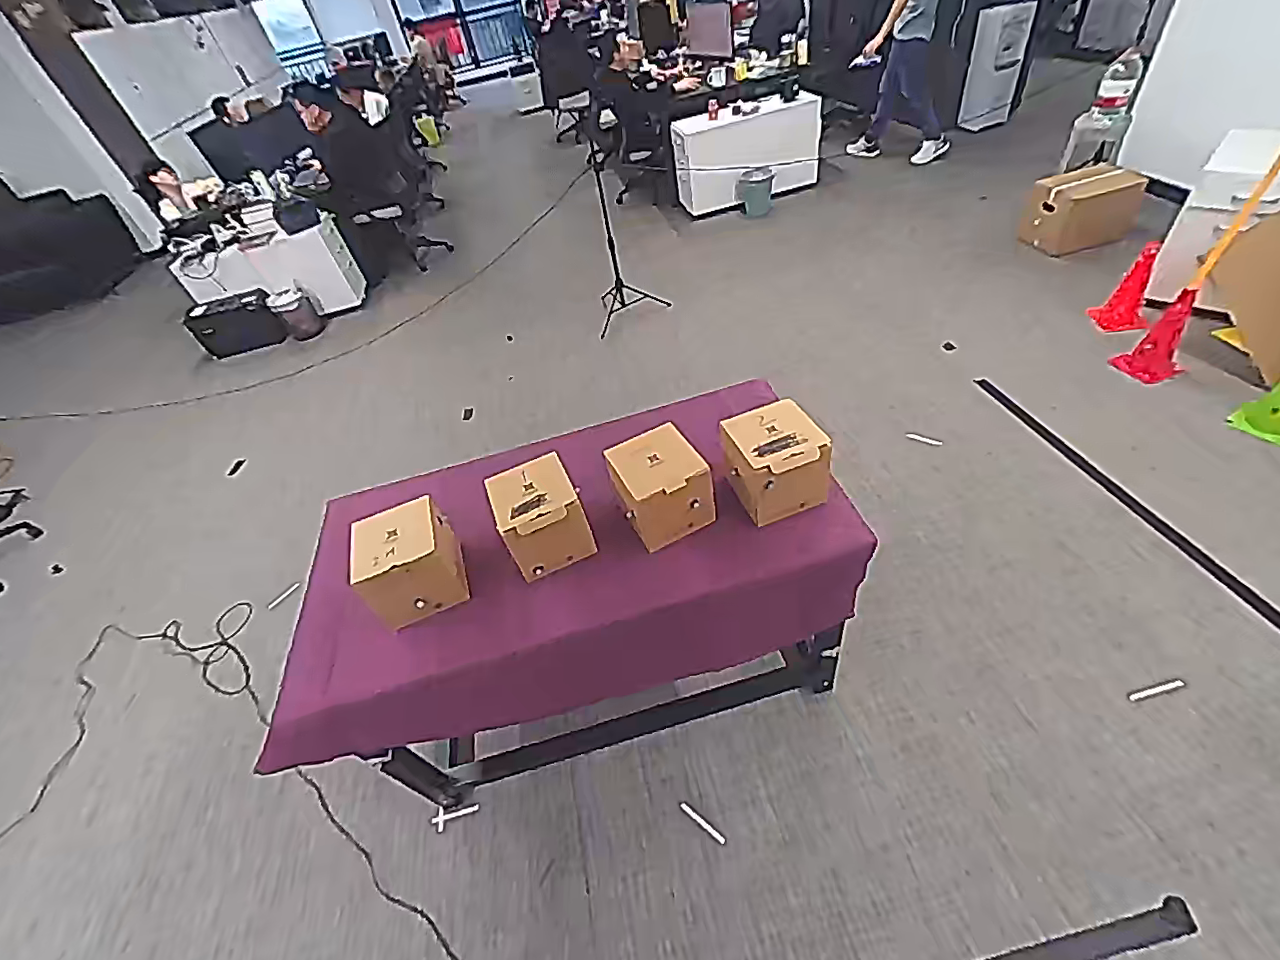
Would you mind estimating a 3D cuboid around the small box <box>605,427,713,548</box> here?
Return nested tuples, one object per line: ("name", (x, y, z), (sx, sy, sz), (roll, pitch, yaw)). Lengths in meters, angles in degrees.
("small box", (0.045, 0.024, 1.167), (0.168, 0.176, 0.179), (-25, 45, -11))

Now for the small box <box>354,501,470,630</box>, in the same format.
("small box", (-0.475, 0.180, 1.137), (0.168, 0.176, 0.179), (-22, 45, -8))

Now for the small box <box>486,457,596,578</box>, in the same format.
("small box", (-0.209, 0.087, 1.164), (0.168, 0.176, 0.179), (-23, 44, -10))
